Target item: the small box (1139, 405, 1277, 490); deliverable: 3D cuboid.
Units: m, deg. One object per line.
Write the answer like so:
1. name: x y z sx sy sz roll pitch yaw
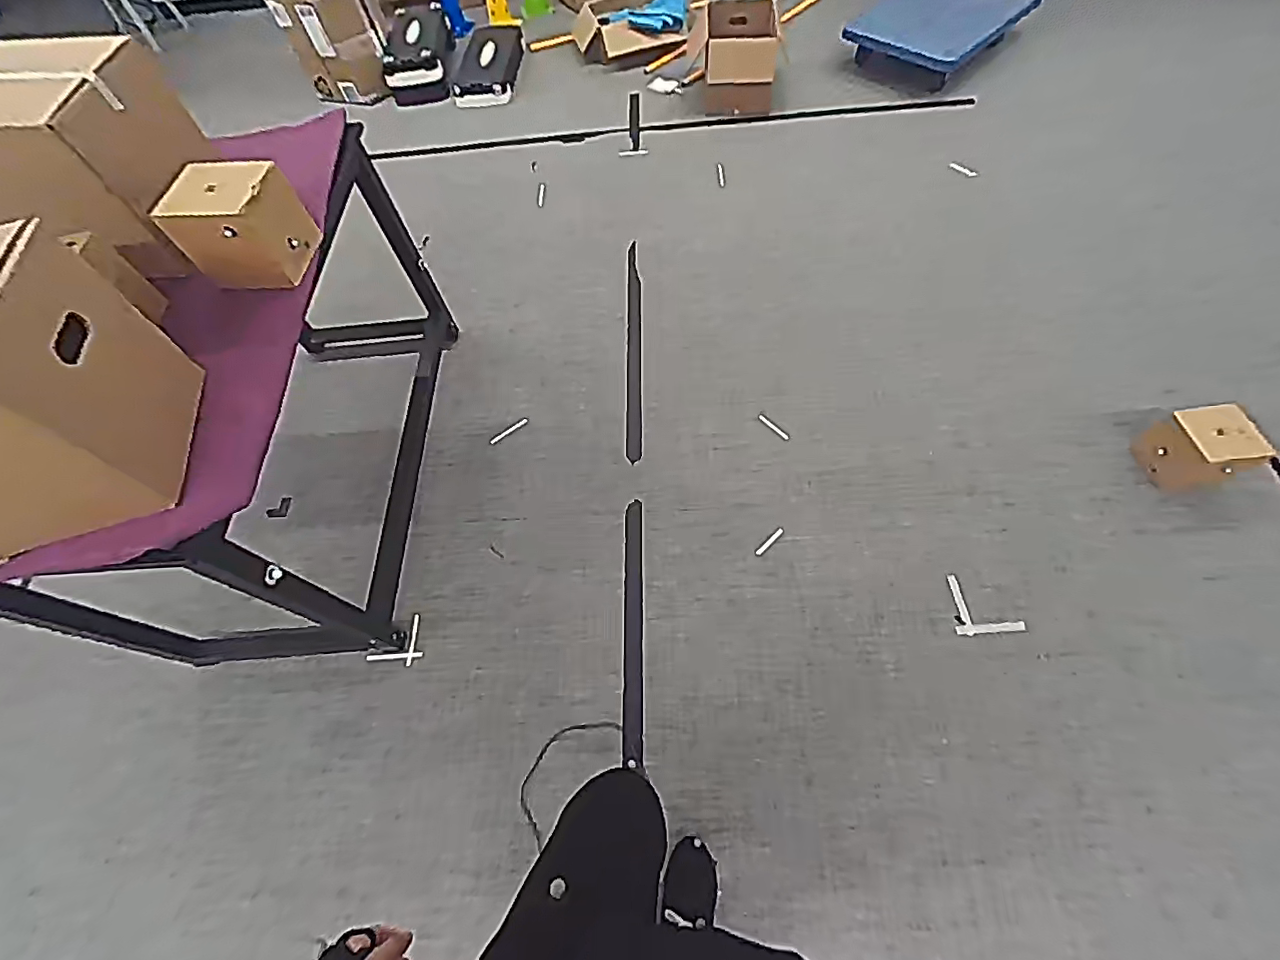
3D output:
1. small box: 1.536 -0.084 1.485 0.179 0.176 0.168 -6 60 1
